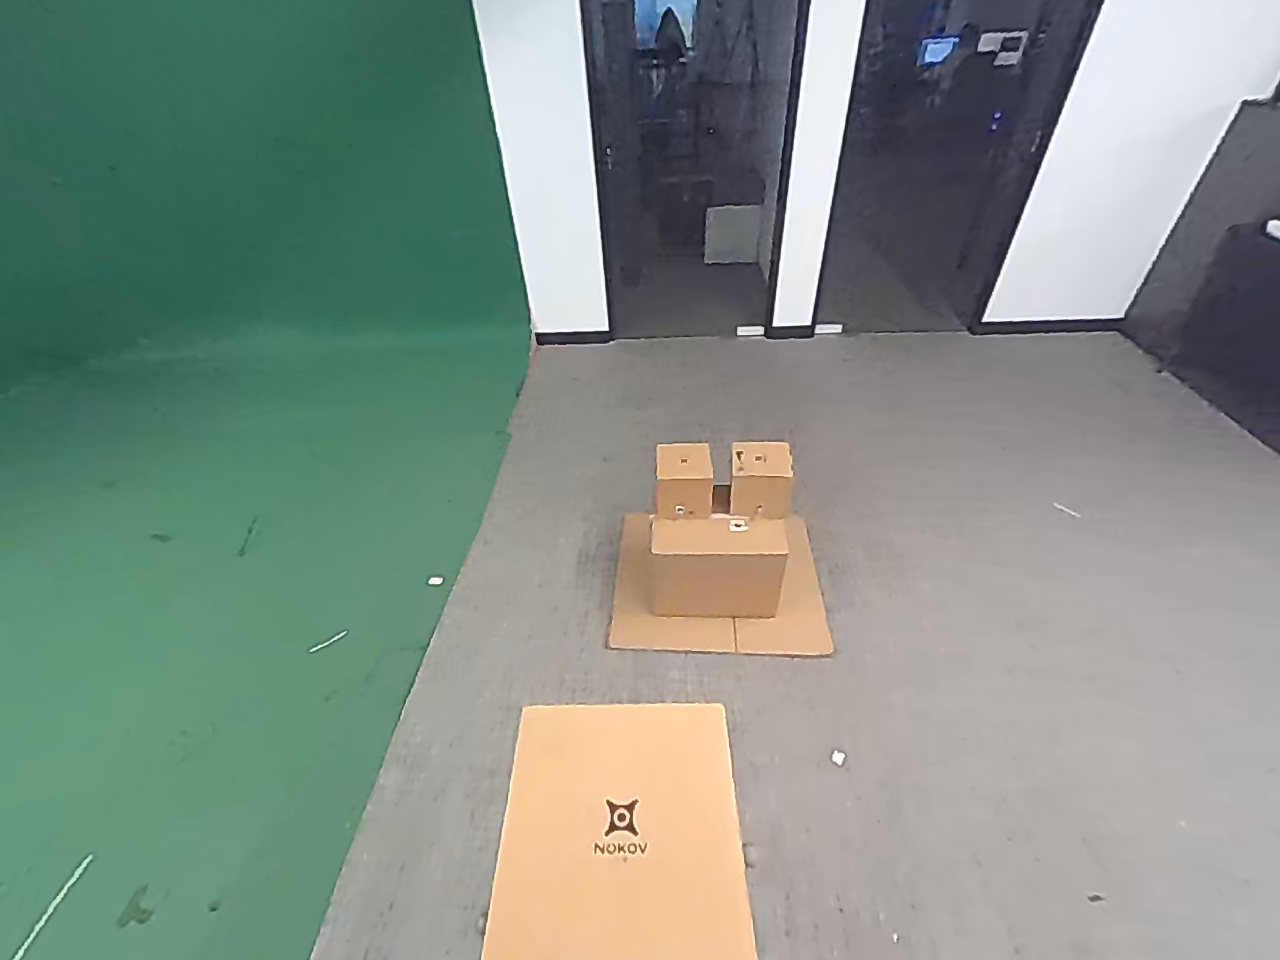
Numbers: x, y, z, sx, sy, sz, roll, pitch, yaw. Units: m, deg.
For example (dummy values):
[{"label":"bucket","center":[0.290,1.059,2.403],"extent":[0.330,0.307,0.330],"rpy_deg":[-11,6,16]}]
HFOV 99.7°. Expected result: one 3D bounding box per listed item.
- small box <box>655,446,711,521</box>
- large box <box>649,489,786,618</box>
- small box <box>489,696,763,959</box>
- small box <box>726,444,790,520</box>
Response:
[{"label":"small box","center":[0.128,0.010,1.686],"extent":[0.168,0.176,0.179],"rpy_deg":[-2,40,2]},{"label":"large box","center":[0.231,0.241,1.784],"extent":[0.408,0.320,0.320],"rpy_deg":[0,41,2]},{"label":"small box","center":[-0.009,0.295,0.430],"extent":[0.168,0.176,0.179],"rpy_deg":[0,41,0]},{"label":"small box","center":[0.360,0.008,1.670],"extent":[0.179,0.176,0.168],"rpy_deg":[3,40,8]}]
